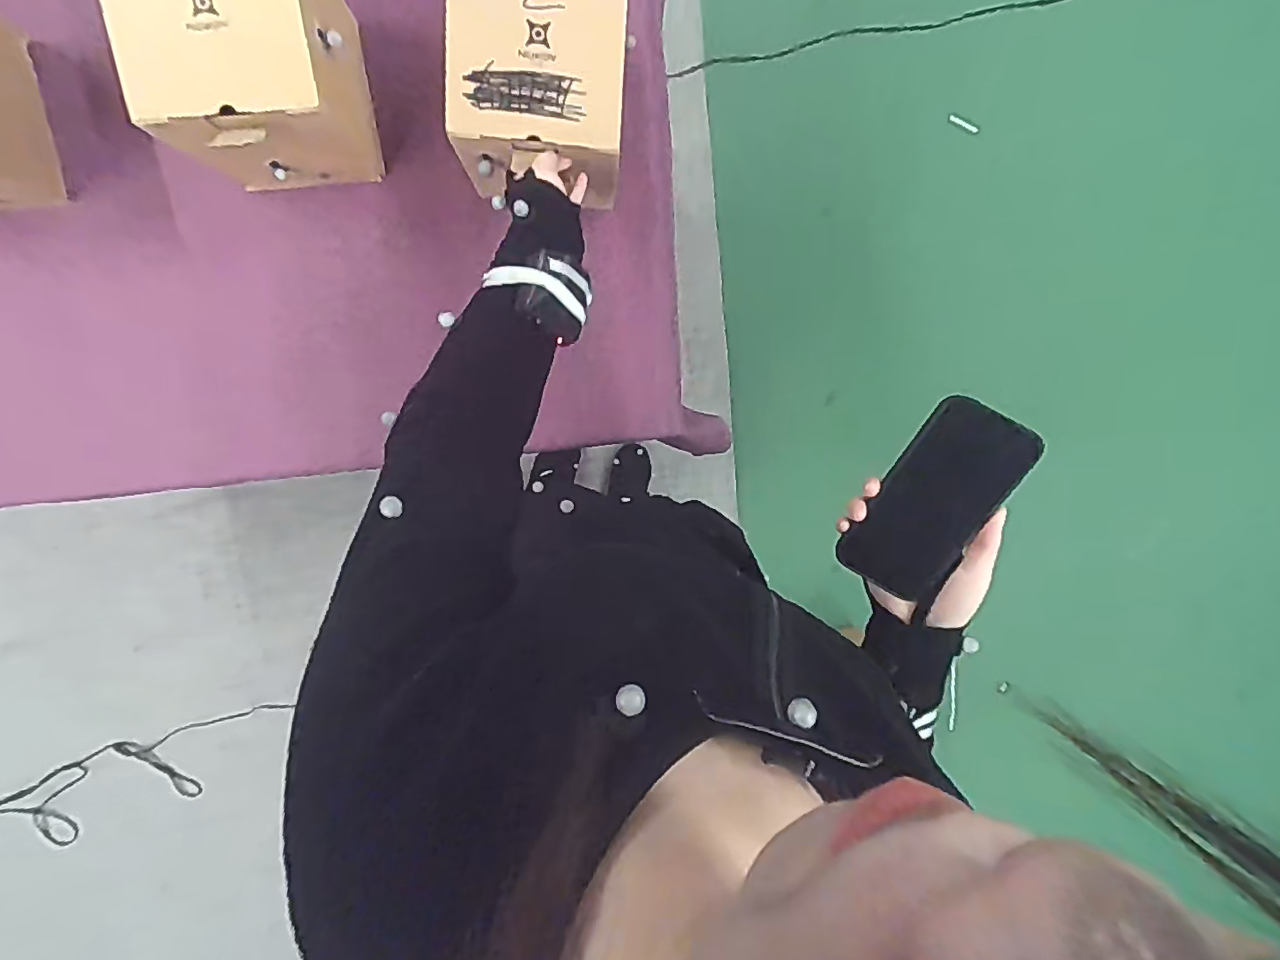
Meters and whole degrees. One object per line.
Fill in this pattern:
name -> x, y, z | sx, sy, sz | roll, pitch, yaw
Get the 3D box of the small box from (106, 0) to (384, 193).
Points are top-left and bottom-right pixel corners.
small box -> -0.389, -0.424, 0.558 | 0.168, 0.176, 0.179 | -8, 100, -4
